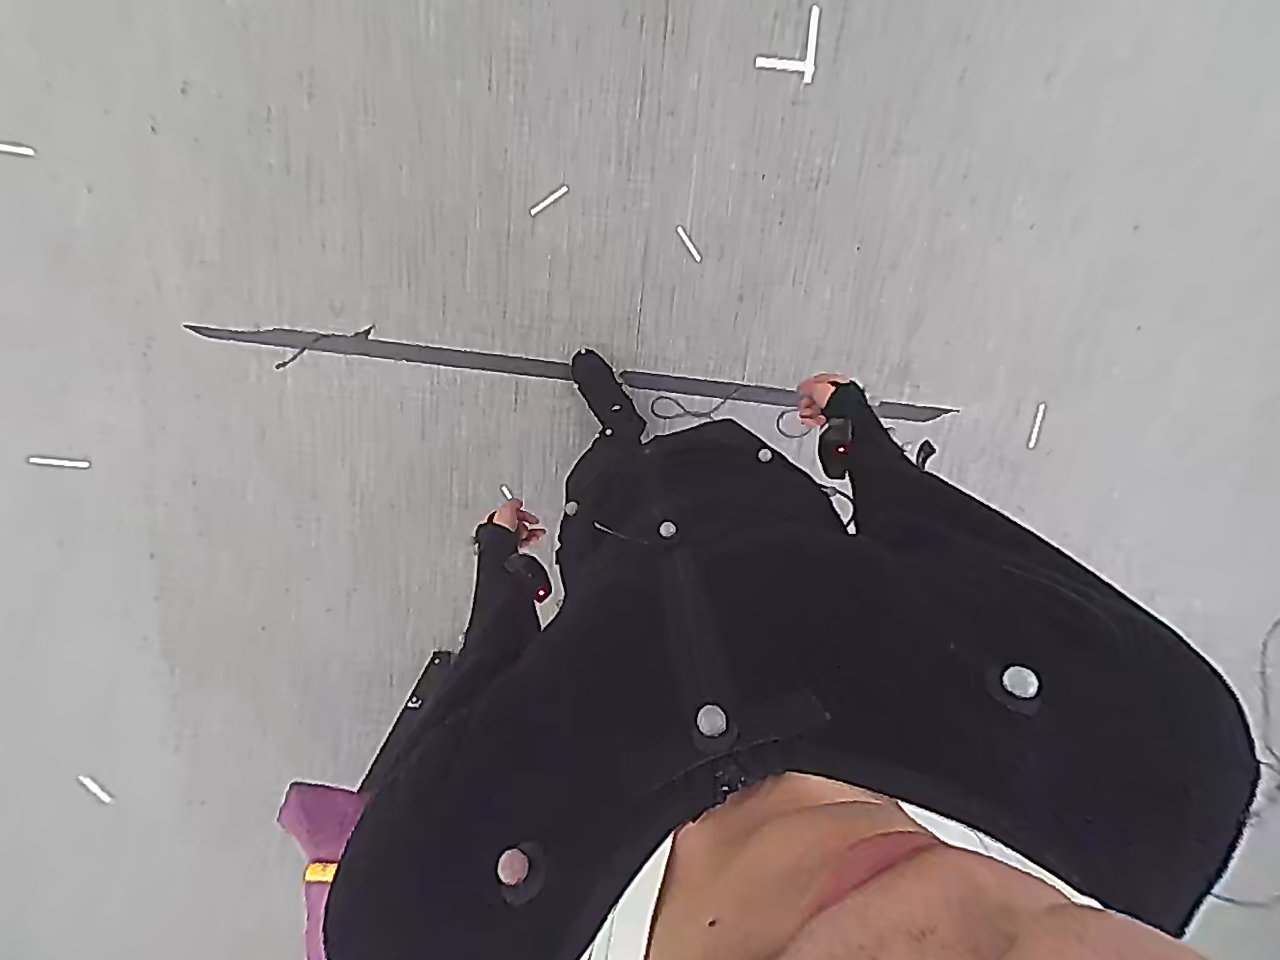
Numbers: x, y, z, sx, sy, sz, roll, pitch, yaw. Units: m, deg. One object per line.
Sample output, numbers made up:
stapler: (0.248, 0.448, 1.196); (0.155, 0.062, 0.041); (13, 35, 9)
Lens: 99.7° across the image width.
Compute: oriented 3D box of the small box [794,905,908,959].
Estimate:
small box: (0.415, 0.972, 1.051); (0.179, 0.176, 0.168); (6, 103, -3)
